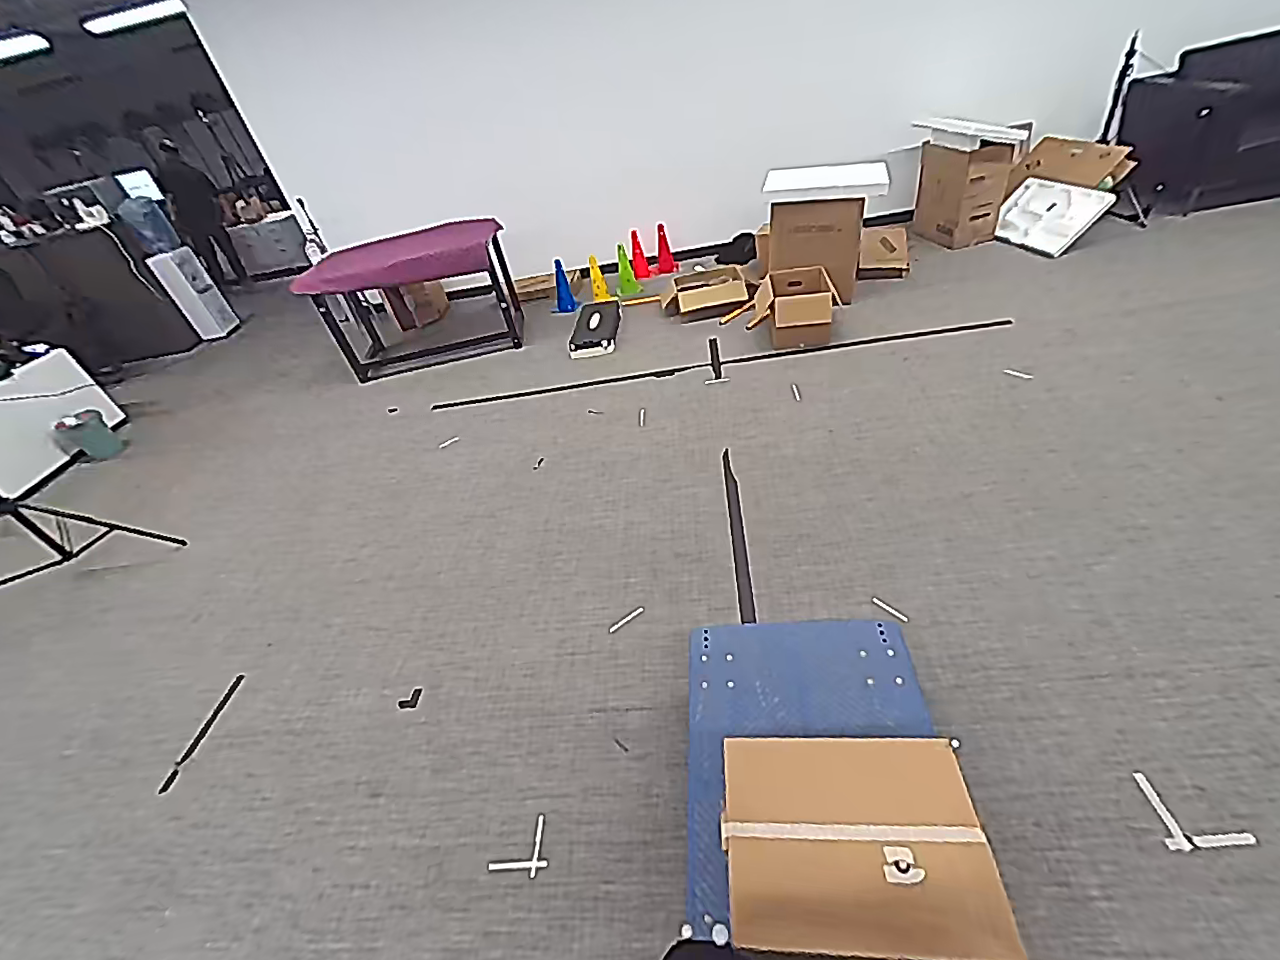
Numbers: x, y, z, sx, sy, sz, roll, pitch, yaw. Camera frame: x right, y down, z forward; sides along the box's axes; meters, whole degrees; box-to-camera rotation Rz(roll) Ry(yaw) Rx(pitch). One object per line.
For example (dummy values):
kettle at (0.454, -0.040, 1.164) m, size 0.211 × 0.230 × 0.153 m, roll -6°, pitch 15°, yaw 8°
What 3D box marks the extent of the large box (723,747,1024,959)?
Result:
large box at (0.365, 0.705, 0.970) m, size 0.408 × 0.320 × 0.320 m, roll -4°, pitch 40°, yaw 9°
